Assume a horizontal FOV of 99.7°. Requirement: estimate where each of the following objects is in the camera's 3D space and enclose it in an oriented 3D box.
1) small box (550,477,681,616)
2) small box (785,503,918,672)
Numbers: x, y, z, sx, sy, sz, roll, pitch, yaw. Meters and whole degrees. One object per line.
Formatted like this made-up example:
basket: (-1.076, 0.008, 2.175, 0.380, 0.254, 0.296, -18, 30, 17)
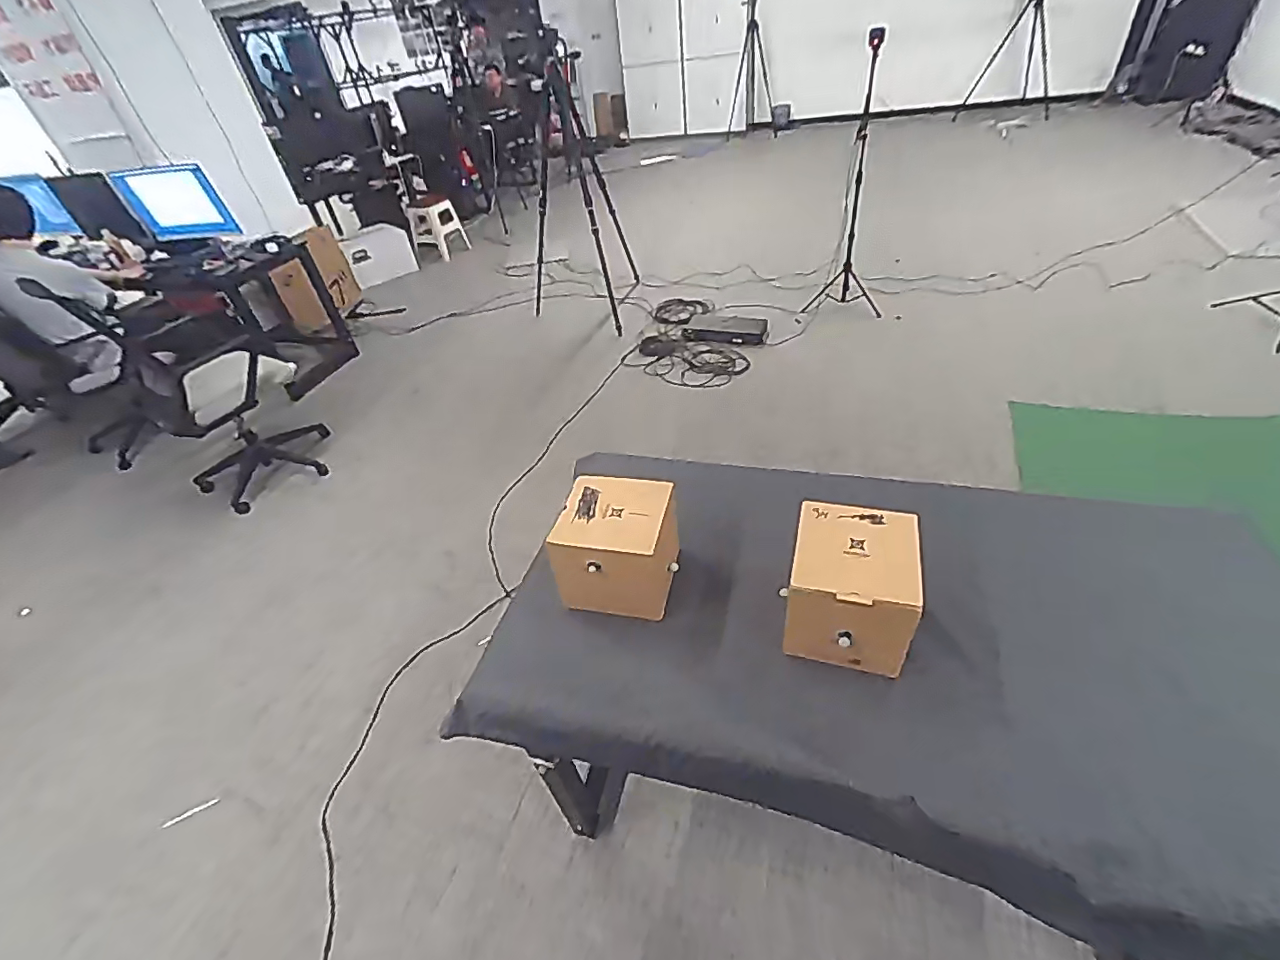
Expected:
small box: (-0.032, 0.115, 0.936, 0.179, 0.176, 0.168, 5, 42, 14)
small box: (0.316, 0.163, 0.820, 0.168, 0.176, 0.179, 7, 43, 18)
